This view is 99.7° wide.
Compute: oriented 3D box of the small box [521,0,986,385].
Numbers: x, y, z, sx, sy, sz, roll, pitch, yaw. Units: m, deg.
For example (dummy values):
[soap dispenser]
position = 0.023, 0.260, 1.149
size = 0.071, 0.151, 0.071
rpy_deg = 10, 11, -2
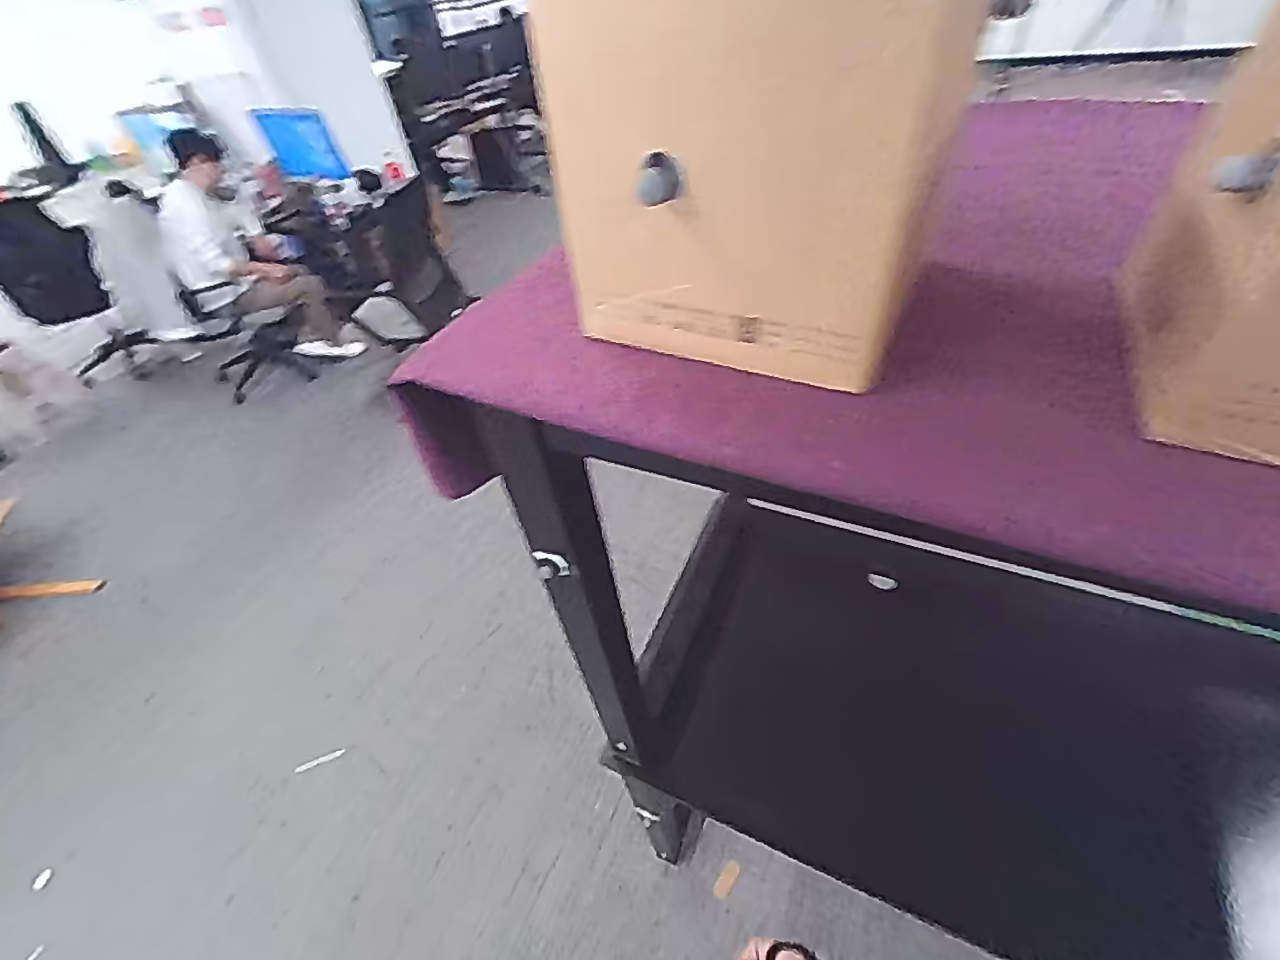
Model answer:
[small box]
position = 0.070, -0.172, 0.290
size = 0.168, 0.176, 0.179
rpy_deg = 17, 48, 25
